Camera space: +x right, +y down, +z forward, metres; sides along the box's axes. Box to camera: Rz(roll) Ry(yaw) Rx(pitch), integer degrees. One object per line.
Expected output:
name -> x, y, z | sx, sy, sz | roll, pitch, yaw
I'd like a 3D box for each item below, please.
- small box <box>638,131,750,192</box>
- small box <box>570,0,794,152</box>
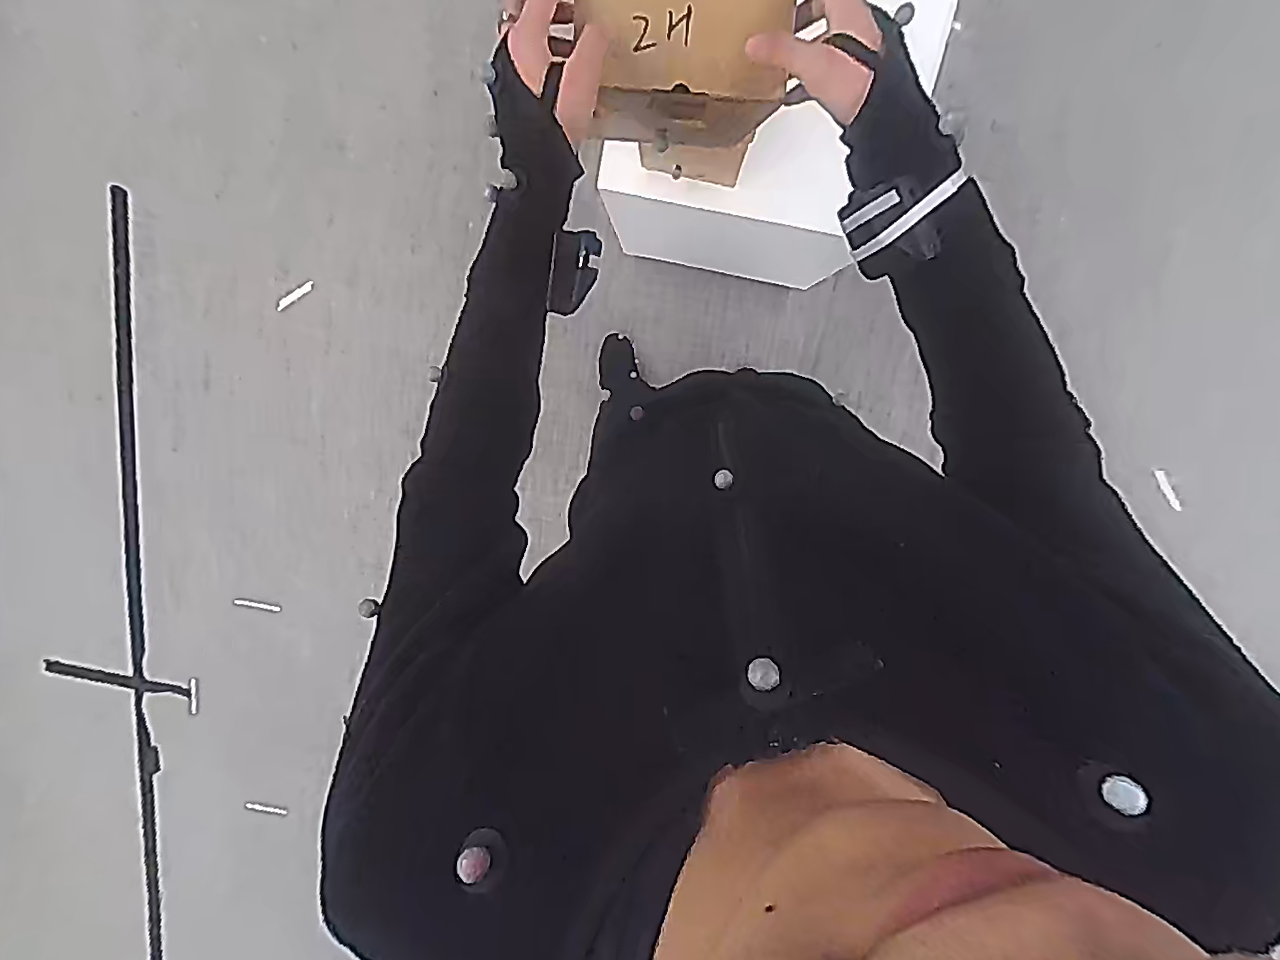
small box -> 0.090, -0.575, 0.828 | 0.168, 0.176, 0.179 | 12, 102, 1
small box -> 0.026, -0.403, 0.459 | 0.168, 0.176, 0.179 | 2, 111, -6
